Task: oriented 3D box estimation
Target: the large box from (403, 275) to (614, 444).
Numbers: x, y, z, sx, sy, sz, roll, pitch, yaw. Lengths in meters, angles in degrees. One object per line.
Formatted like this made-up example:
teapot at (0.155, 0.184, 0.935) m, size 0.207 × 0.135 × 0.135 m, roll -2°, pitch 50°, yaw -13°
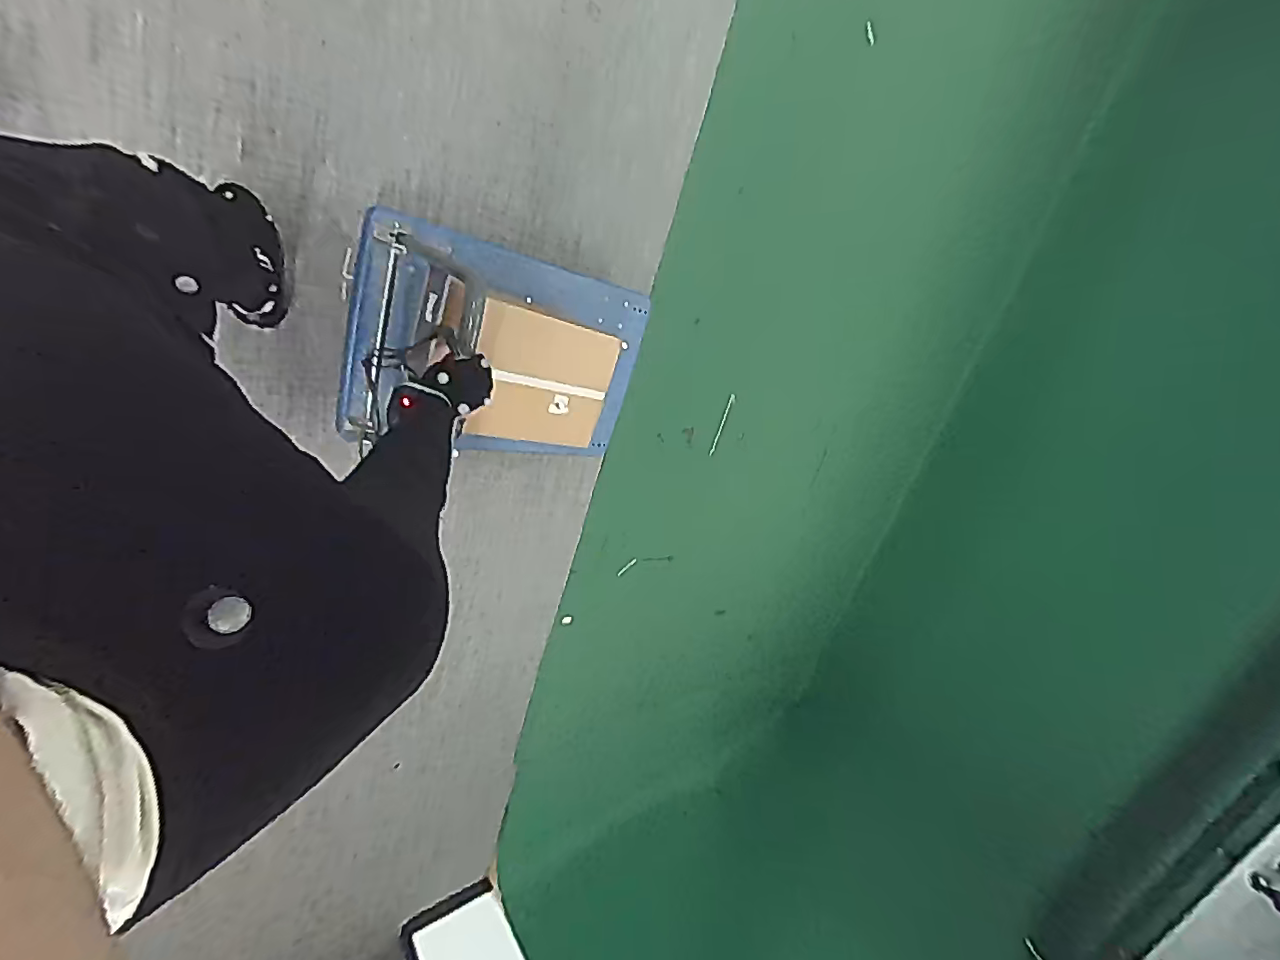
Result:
large box at (-0.350, -0.307, 1.416) m, size 0.408 × 0.320 × 0.320 m, roll 4°, pitch 113°, yaw -44°
